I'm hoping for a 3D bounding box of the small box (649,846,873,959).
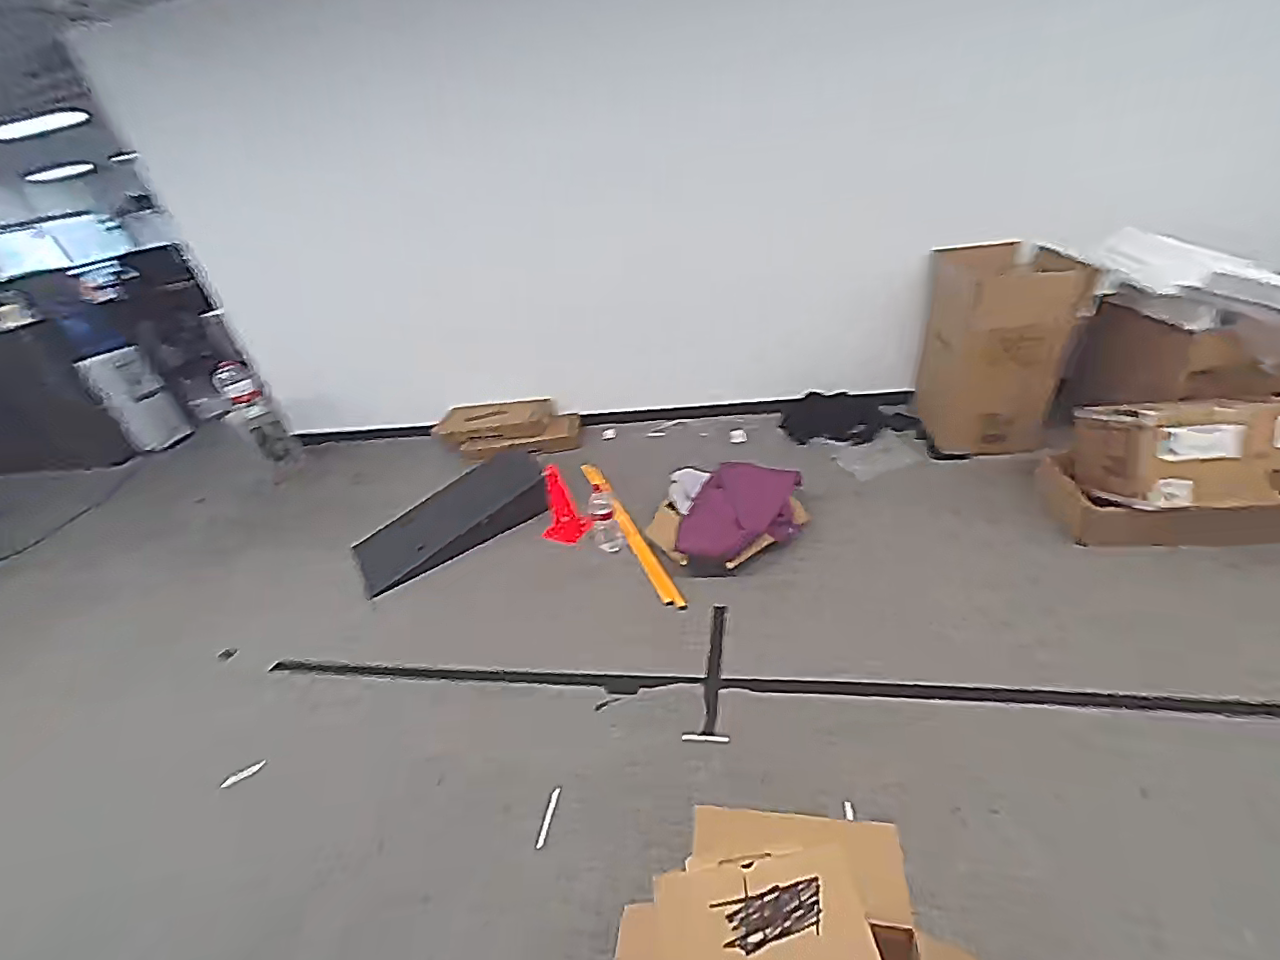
[{"bbox_3d":[0.103,0.440,0.441,0.168,0.176,0.179,-10,39,-3],"label":"small box"}]
